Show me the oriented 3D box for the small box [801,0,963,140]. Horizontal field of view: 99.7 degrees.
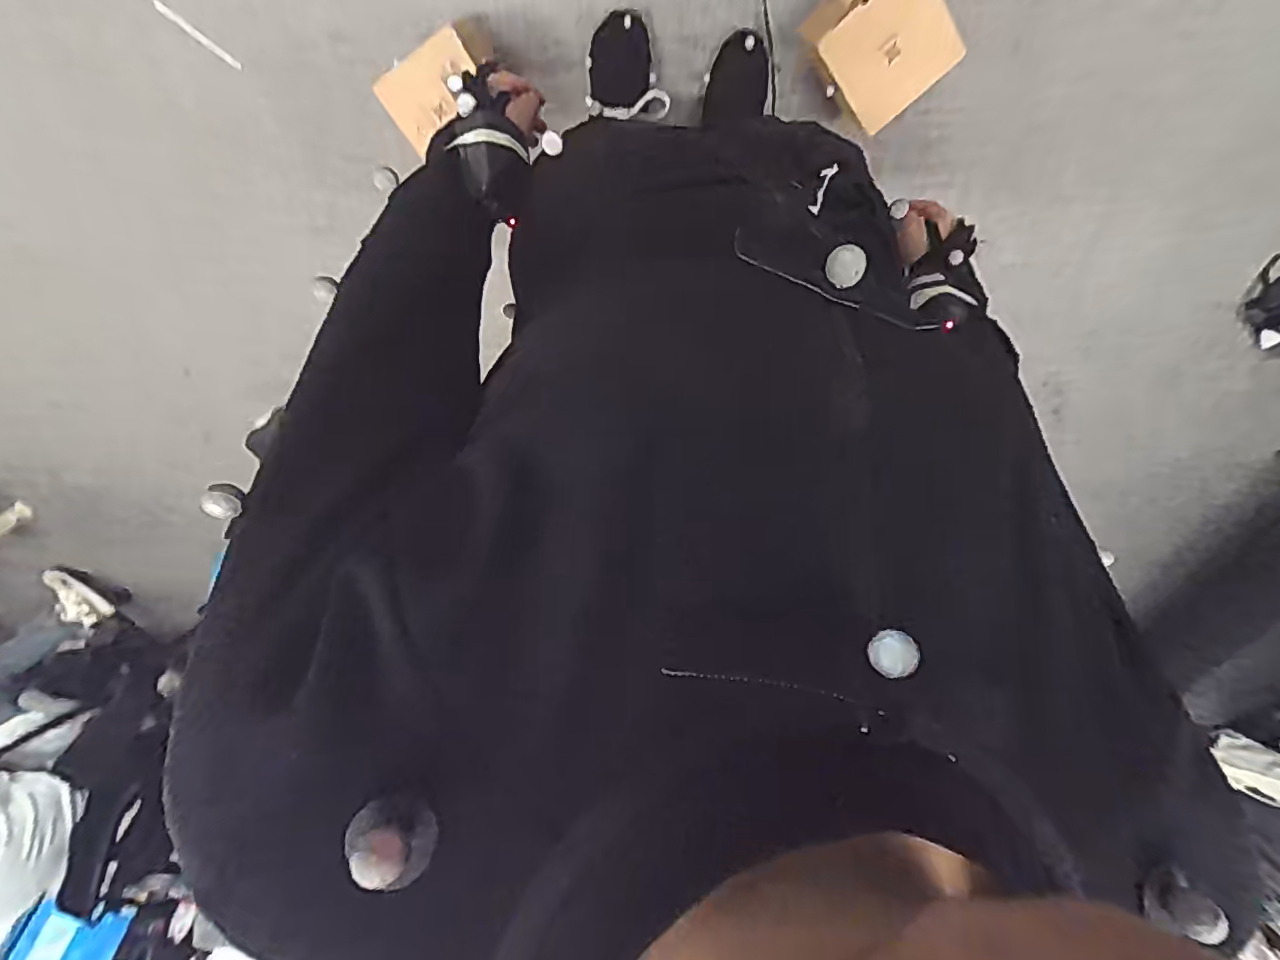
[{"bbox_3d":[0.394,-0.721,0.899,0.168,0.176,0.179,-33,125,30],"label":"small box"}]
